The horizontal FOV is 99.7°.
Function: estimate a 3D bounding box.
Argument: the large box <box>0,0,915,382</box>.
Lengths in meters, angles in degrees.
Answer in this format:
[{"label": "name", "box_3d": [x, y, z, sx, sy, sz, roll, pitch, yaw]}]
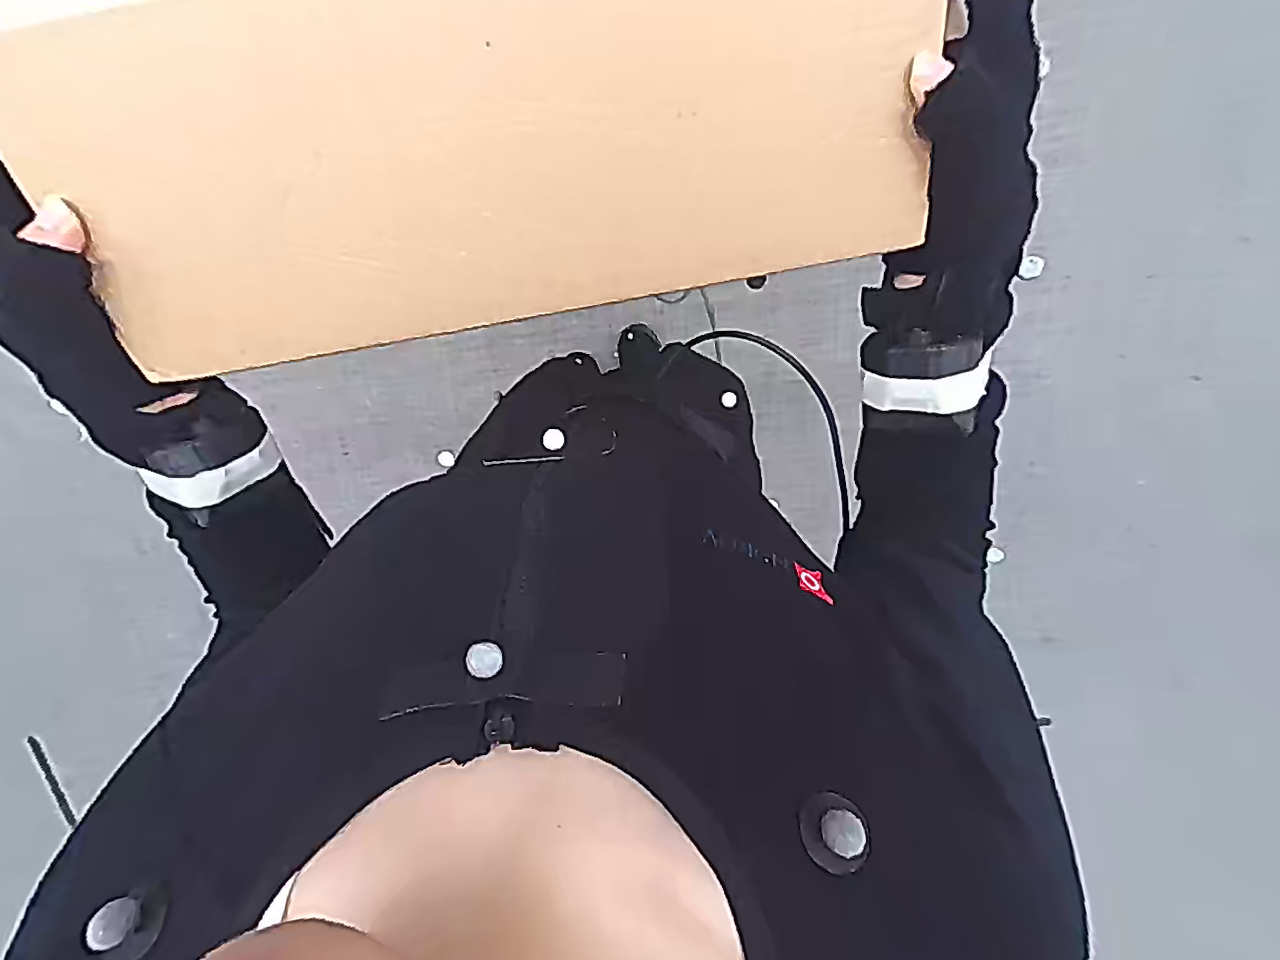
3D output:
[{"label": "large box", "box_3d": [-0.090, -0.292, 0.343, 0.408, 0.320, 0.320, -9, 118, 4]}]
